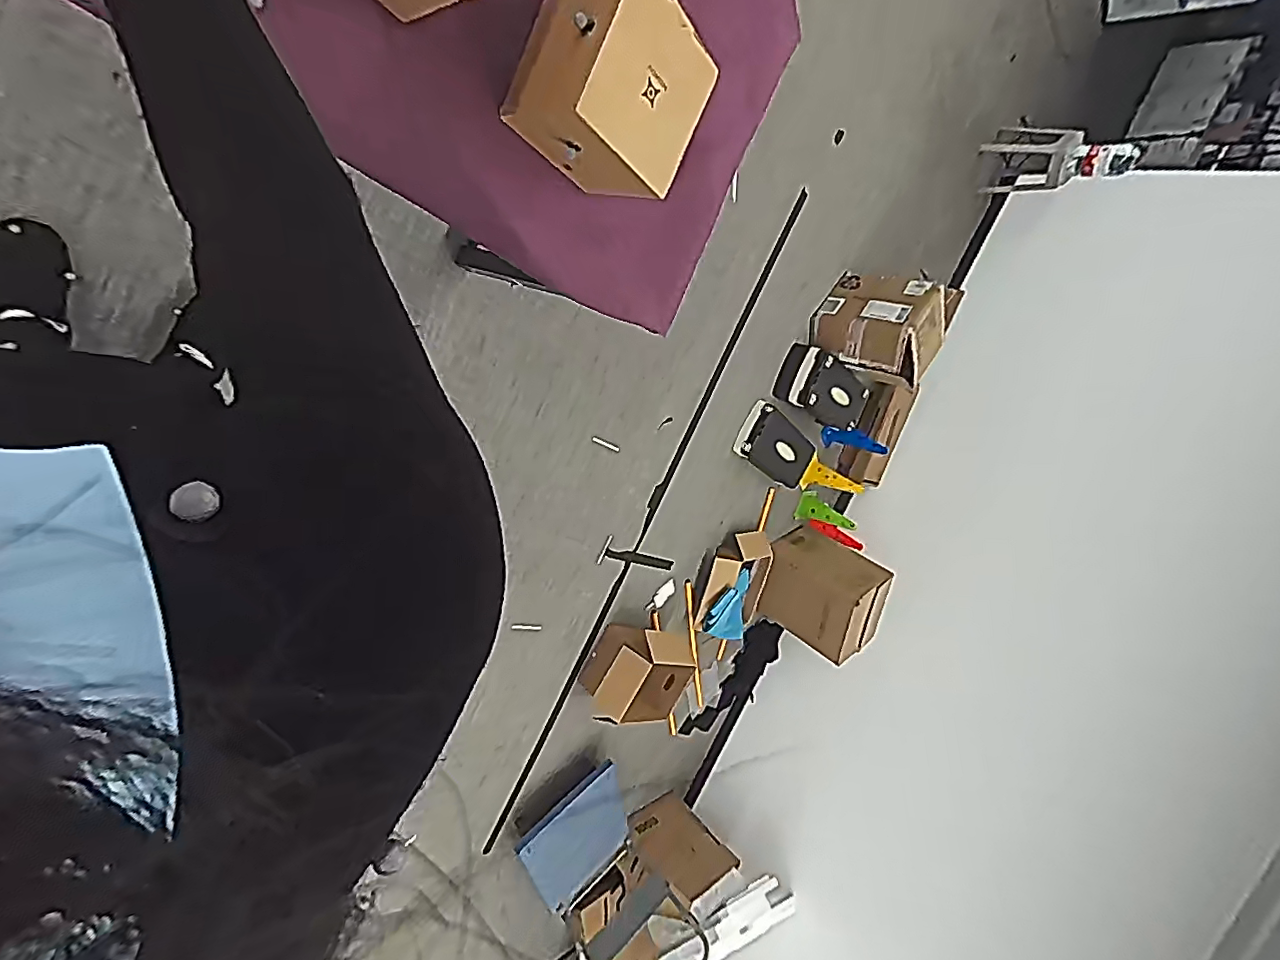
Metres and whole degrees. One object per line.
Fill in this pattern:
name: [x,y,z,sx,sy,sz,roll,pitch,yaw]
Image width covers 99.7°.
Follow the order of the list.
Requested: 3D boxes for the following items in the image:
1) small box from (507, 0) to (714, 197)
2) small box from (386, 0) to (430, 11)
small box: [-0.043,-0.493,0.689,0.168,0.176,0.179,18,98,-50]
small box: [-0.214,-0.559,0.462,0.168,0.176,0.179,16,99,-51]
